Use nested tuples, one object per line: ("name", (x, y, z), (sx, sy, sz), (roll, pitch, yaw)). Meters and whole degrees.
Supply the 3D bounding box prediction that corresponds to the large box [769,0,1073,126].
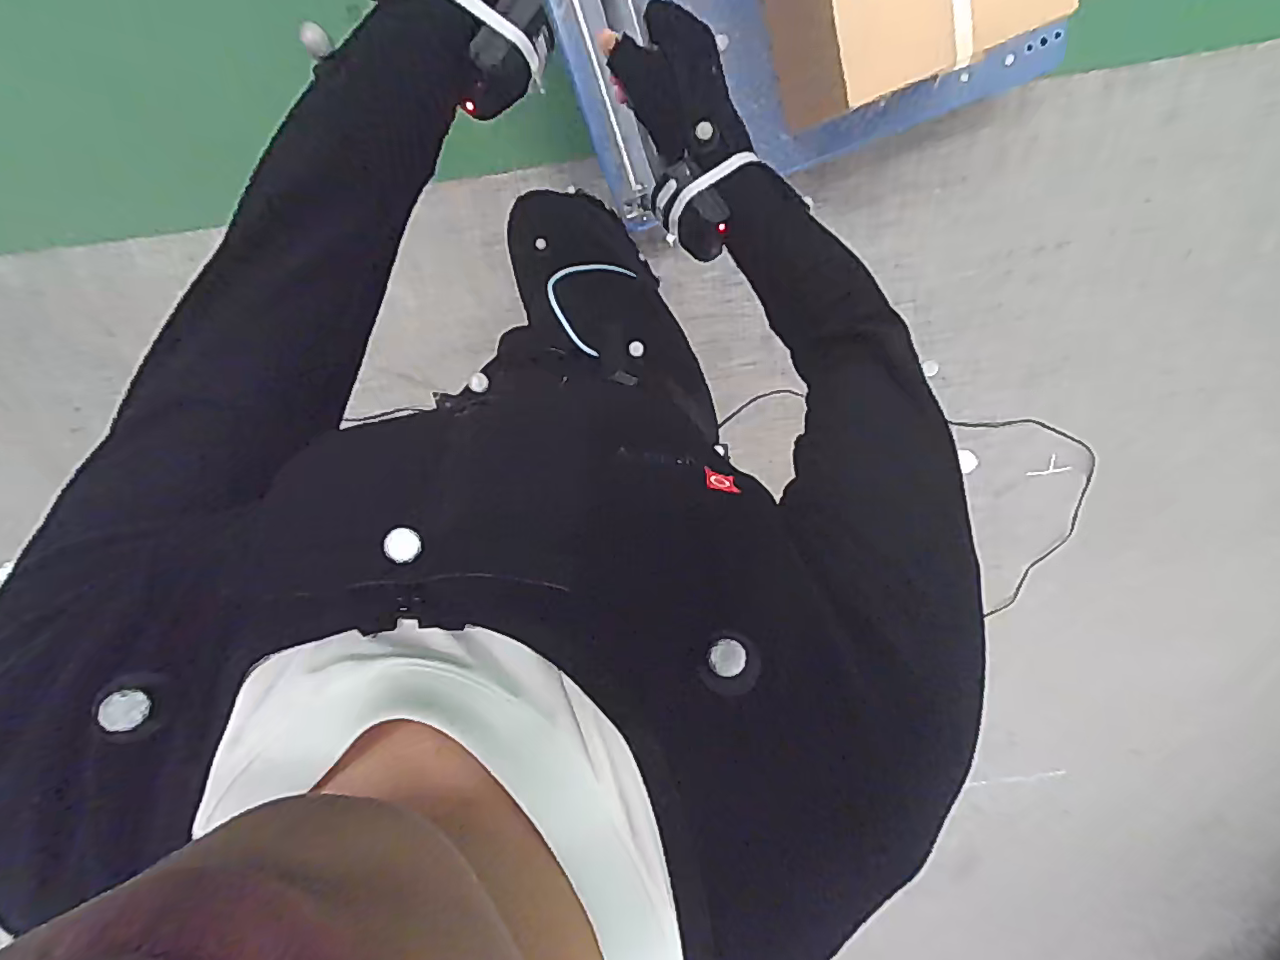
("large box", (0.369, -0.820, 0.797), (0.320, 0.320, 0.408), (-20, 116, 8))
